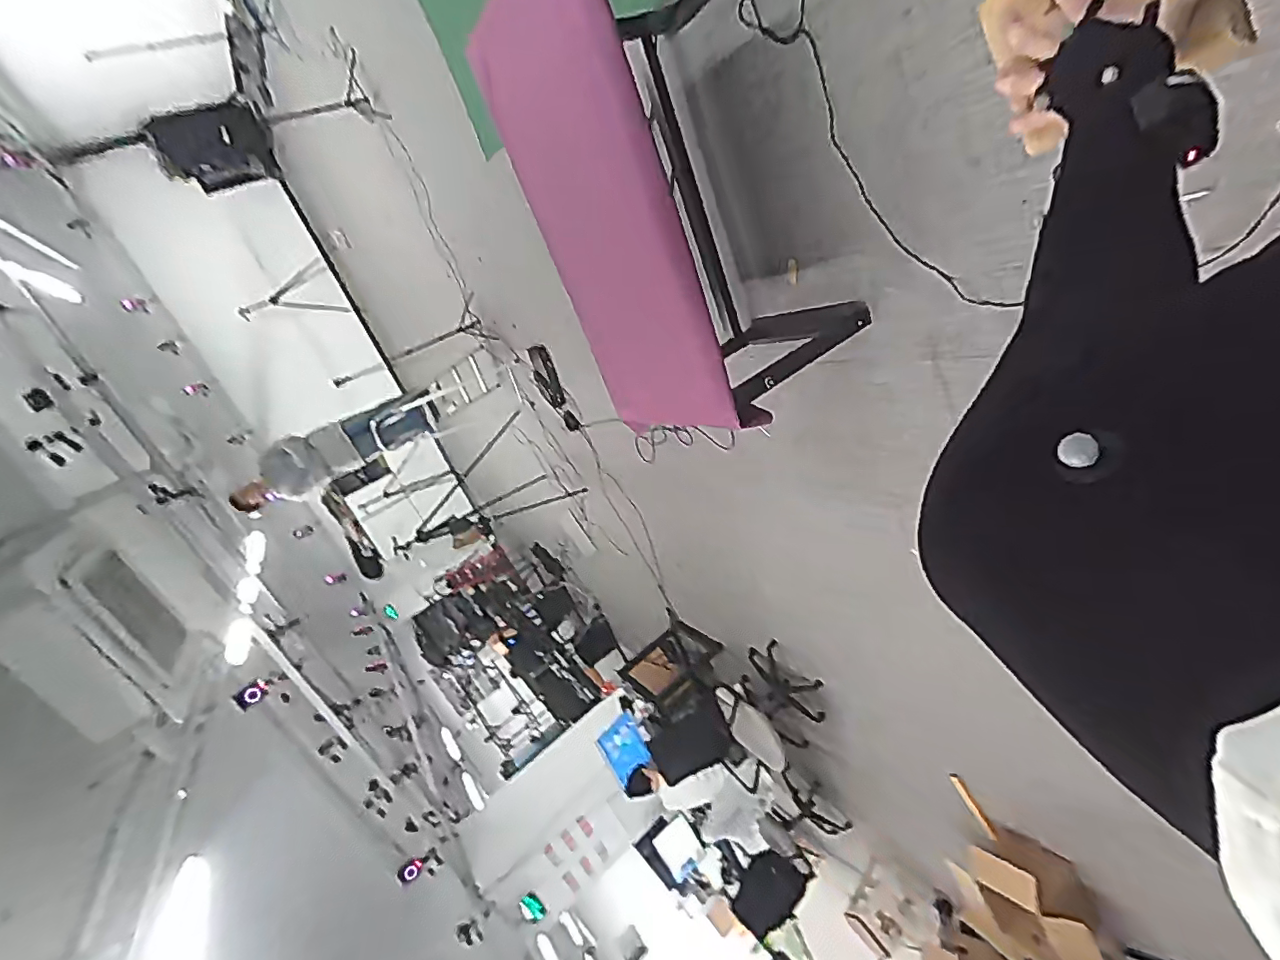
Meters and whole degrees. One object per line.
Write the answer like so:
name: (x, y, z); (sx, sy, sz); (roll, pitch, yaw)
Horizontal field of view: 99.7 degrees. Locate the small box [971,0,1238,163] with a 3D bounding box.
small box: (0.513, -0.488, 0.600); (0.168, 0.176, 0.179); (-18, 99, 57)
